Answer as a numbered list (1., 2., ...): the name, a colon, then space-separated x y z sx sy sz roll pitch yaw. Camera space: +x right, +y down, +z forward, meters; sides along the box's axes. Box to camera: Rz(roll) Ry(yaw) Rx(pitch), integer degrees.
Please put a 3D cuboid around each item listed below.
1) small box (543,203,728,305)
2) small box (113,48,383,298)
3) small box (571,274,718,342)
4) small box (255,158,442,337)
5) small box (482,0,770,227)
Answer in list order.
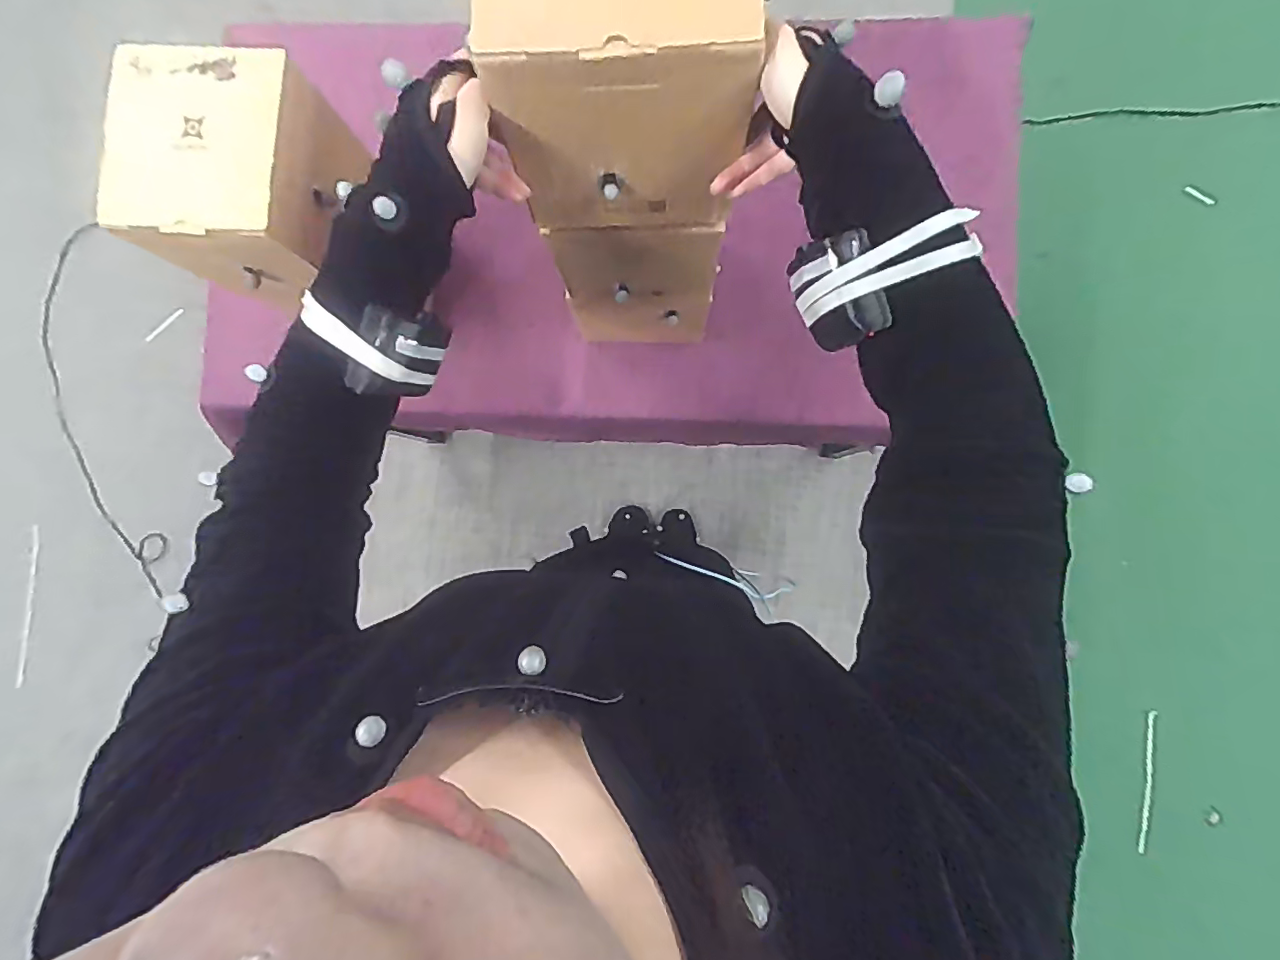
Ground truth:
1. small box: 0.001 -0.298 0.560 0.168 0.176 0.179 1 88 4
2. small box: -0.400 -0.310 0.581 0.168 0.176 0.179 5 89 2
3. small box: 0.011 -0.289 0.723 0.179 0.176 0.168 2 87 3
4. small box: -0.387 -0.312 0.745 0.168 0.176 0.179 4 89 3
5. small box: -0.007 -0.314 0.393 0.168 0.176 0.179 -2 85 3
